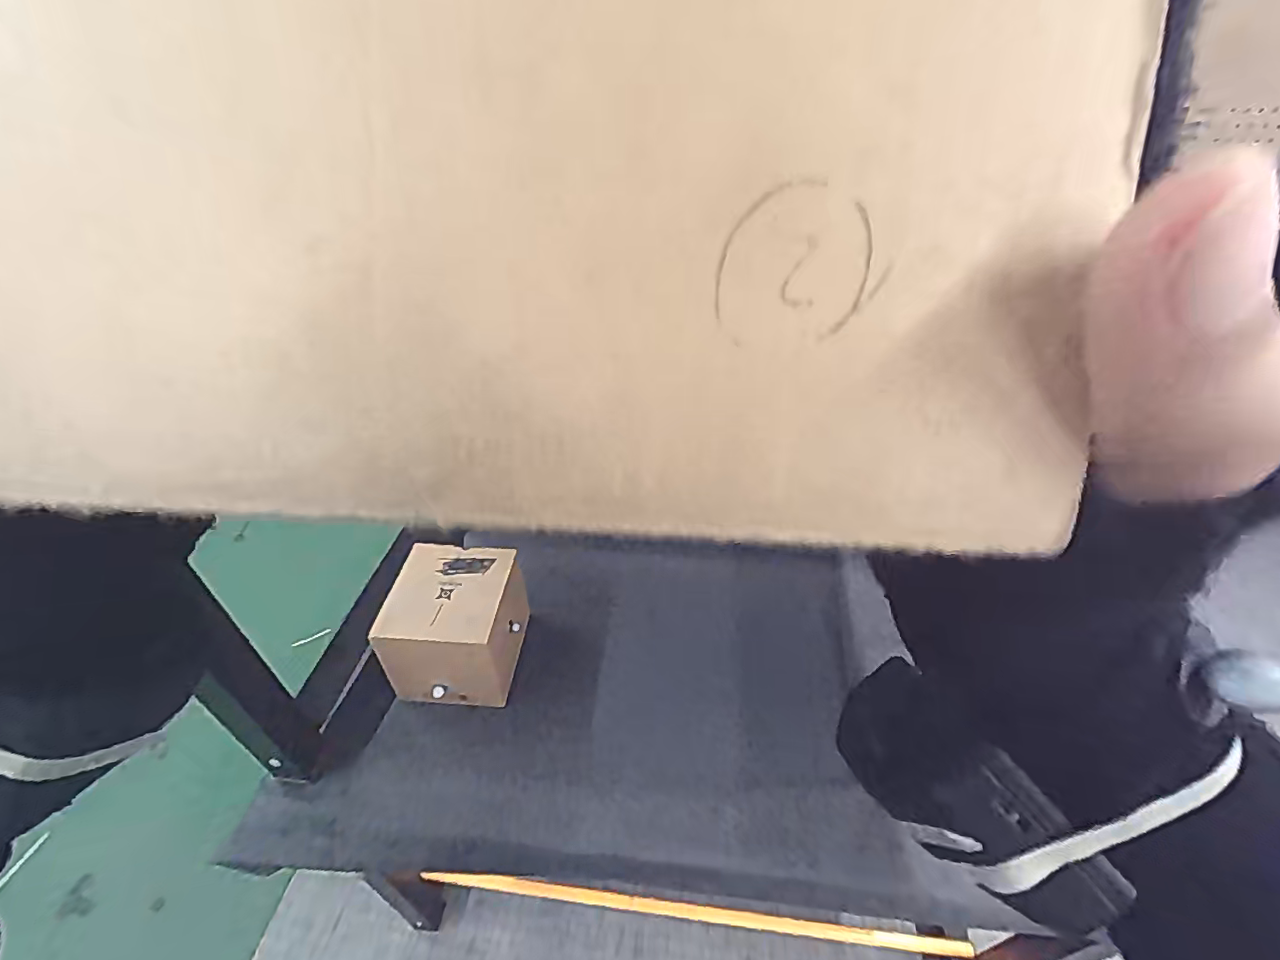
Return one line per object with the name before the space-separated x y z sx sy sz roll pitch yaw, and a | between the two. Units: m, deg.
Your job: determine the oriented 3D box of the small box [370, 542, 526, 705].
small box | -0.279 0.219 0.836 0.168 0.176 0.179 3 40 3
